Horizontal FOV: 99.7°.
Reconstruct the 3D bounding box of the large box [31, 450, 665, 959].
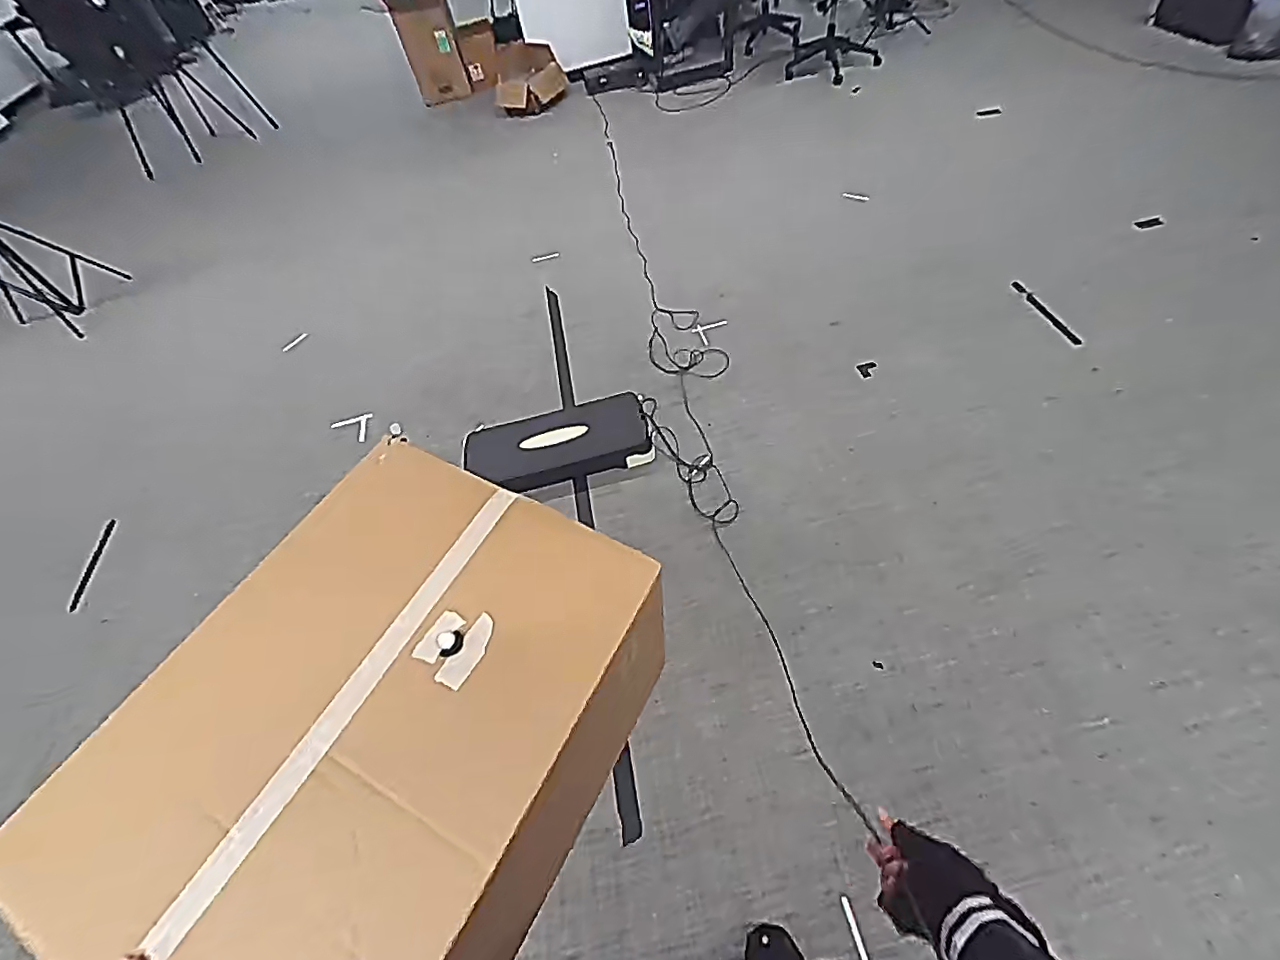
[{"bbox_3d":[-0.199,0.252,0.547,0.320,0.320,0.408,22,60,18],"label":"large box"}]
